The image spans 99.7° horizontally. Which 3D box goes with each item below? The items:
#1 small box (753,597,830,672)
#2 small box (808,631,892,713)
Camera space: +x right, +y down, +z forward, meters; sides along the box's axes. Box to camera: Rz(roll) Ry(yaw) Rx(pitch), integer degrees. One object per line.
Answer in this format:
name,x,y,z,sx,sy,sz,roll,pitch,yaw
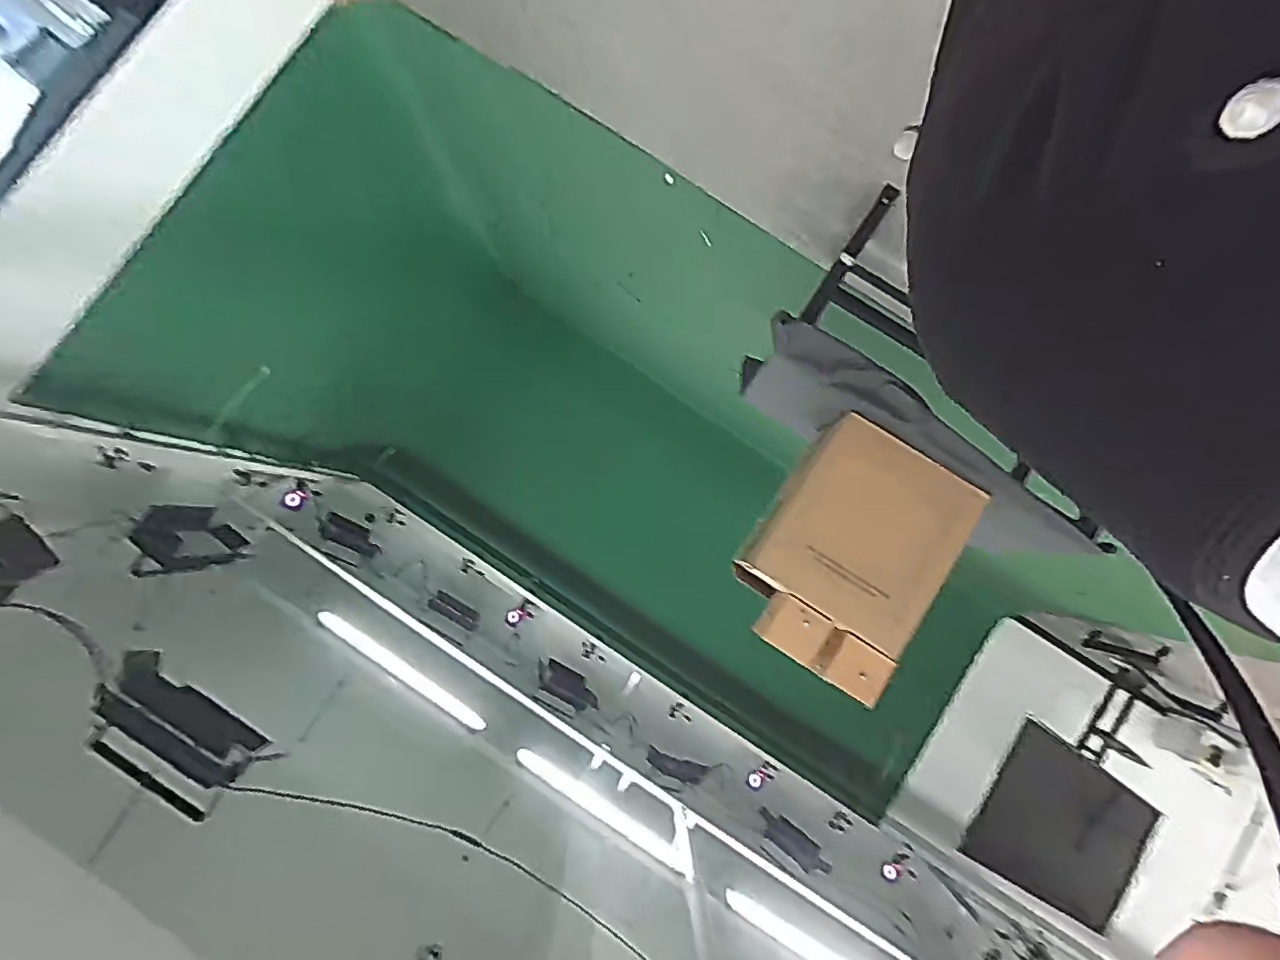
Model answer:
small box,0.507,0.510,1.813,0.168,0.176,0.179,33,173,4
small box,0.693,0.627,1.786,0.179,0.176,0.168,32,174,4
